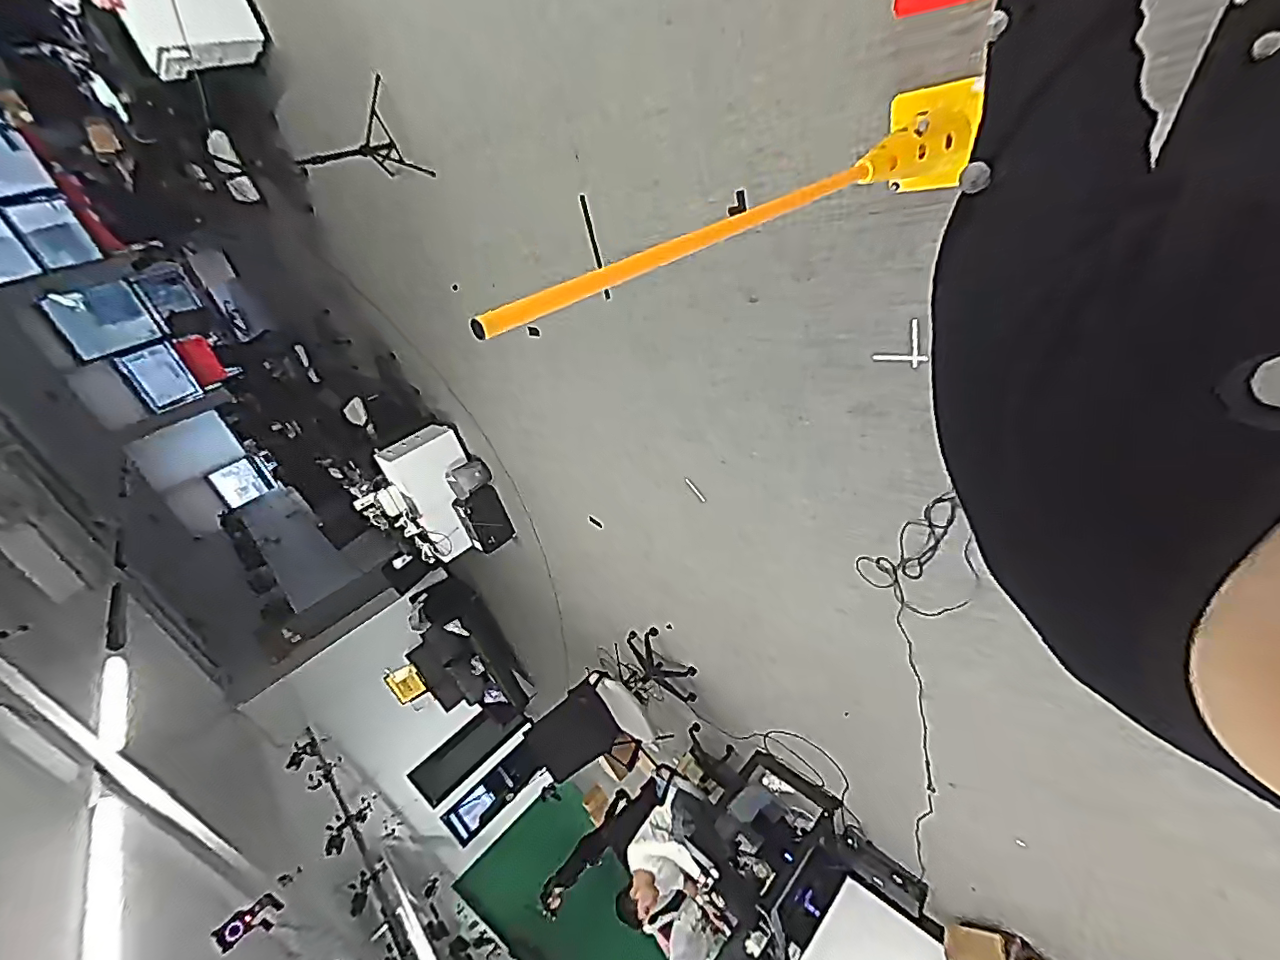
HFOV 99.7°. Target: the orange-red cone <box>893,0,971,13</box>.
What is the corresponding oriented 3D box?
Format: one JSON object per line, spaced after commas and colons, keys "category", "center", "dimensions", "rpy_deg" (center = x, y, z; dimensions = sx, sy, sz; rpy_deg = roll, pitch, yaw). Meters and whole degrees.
{"category": "orange-red cone", "center": [0.474, -0.949, 0.941], "dimensions": [0.198, 0.360, 0.199], "rpy_deg": [23, 136, 39]}
